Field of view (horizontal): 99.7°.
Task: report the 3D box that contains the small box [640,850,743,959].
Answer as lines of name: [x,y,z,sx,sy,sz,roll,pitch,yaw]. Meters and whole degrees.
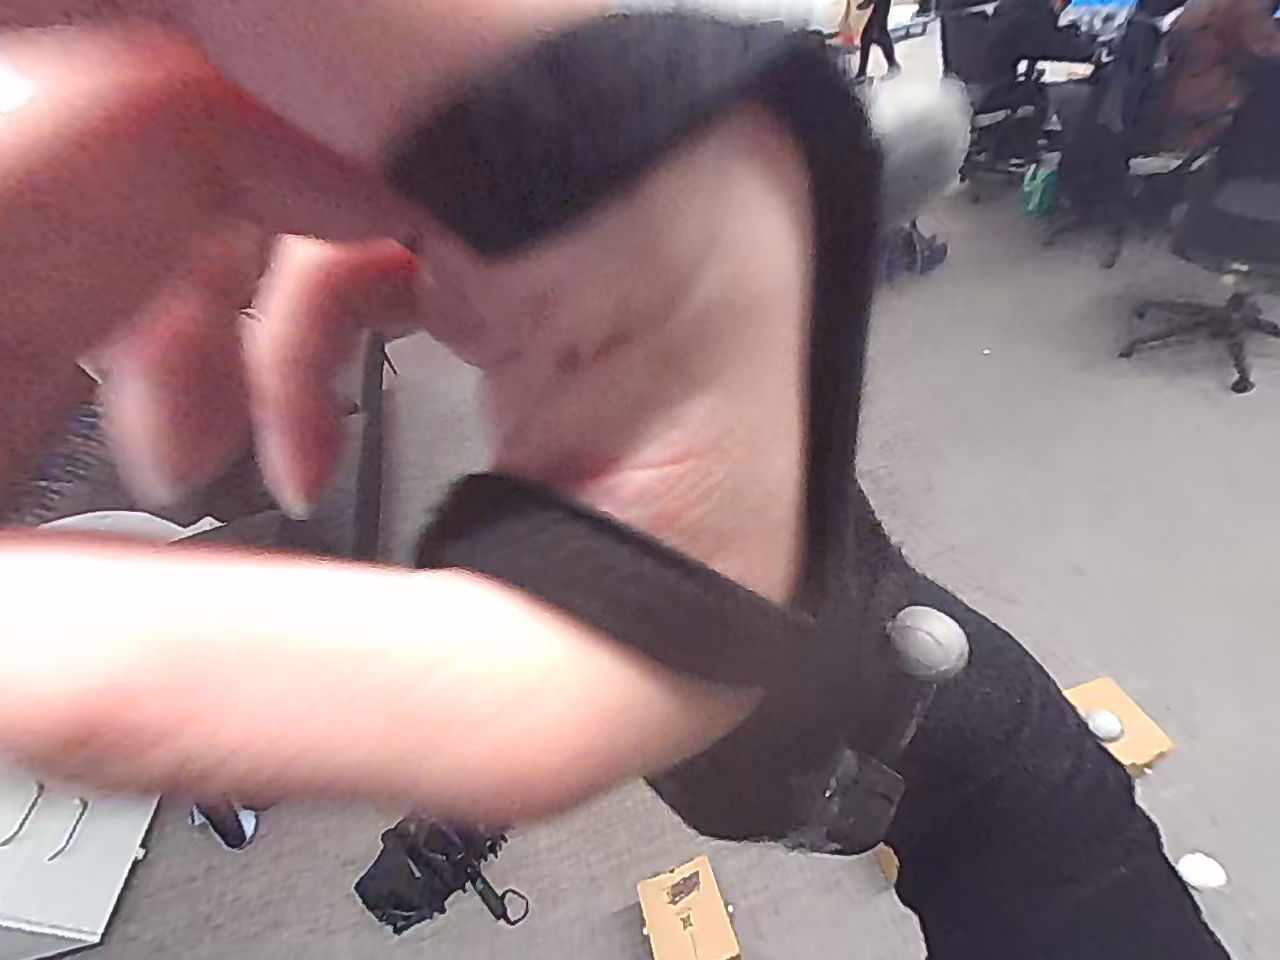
small box: [0.112,0.947,1.170,0.168,0.176,0.179,-20,44,-5]

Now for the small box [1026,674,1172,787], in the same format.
small box: [1.068,0.598,1.276,0.168,0.176,0.179,-18,41,-4]

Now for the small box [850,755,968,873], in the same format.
small box: [0.599,0.765,1.229,0.168,0.176,0.179,-18,43,-3]
